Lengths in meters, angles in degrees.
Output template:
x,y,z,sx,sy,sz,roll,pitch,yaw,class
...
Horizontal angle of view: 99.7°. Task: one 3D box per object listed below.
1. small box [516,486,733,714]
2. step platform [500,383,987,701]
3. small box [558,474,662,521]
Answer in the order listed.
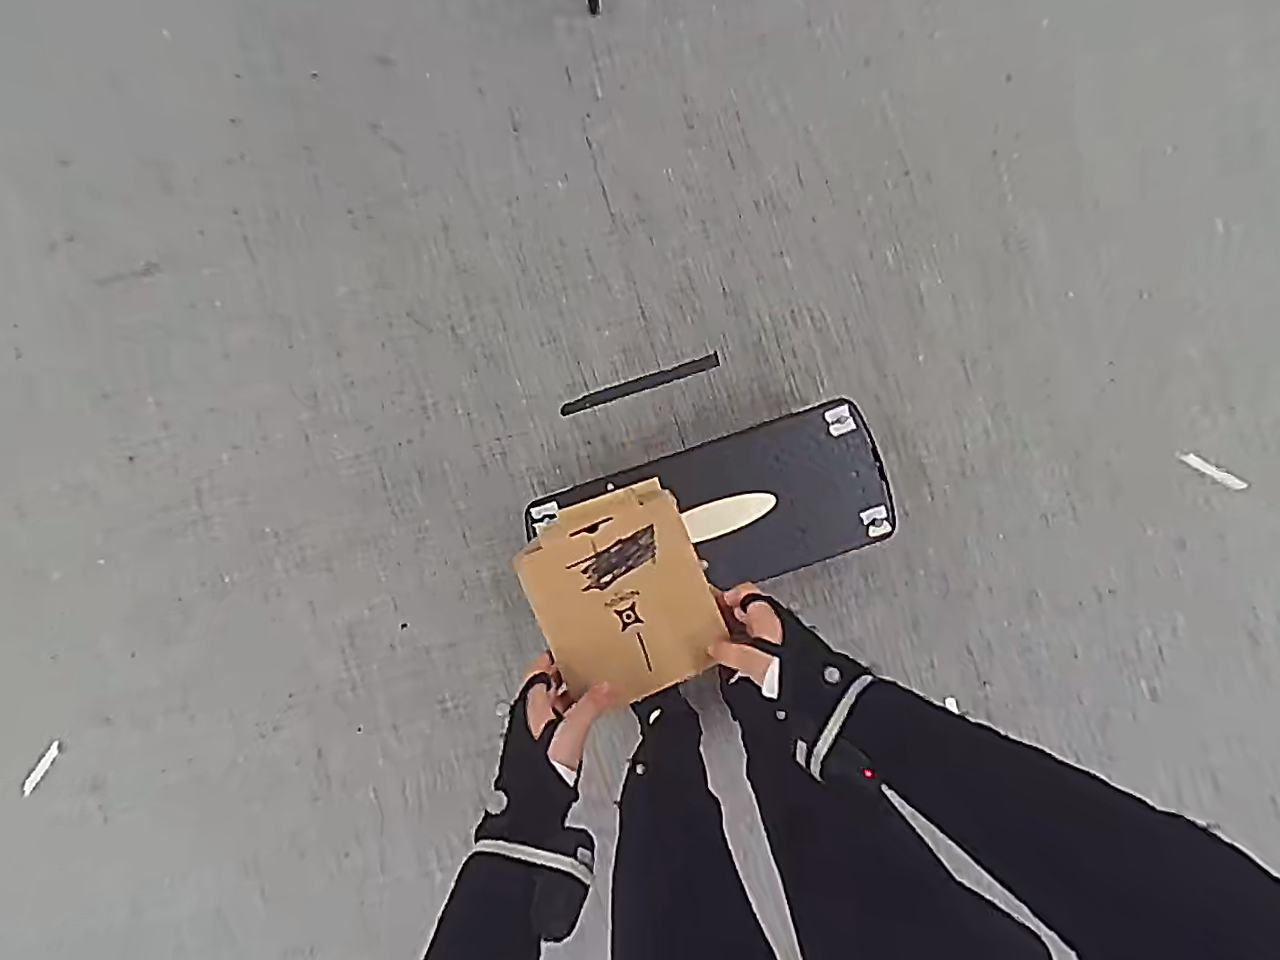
x,y,z,sx,sy,sz,roll,pitch,yaw,class
-0.021,0.116,0.601,0.168,0.176,0.179,-23,93,-3,small box
0.146,0.092,0.859,0.684,0.204,0.286,-19,89,-1,step platform
-0.024,0.099,0.893,0.168,0.176,0.179,-19,89,0,small box
